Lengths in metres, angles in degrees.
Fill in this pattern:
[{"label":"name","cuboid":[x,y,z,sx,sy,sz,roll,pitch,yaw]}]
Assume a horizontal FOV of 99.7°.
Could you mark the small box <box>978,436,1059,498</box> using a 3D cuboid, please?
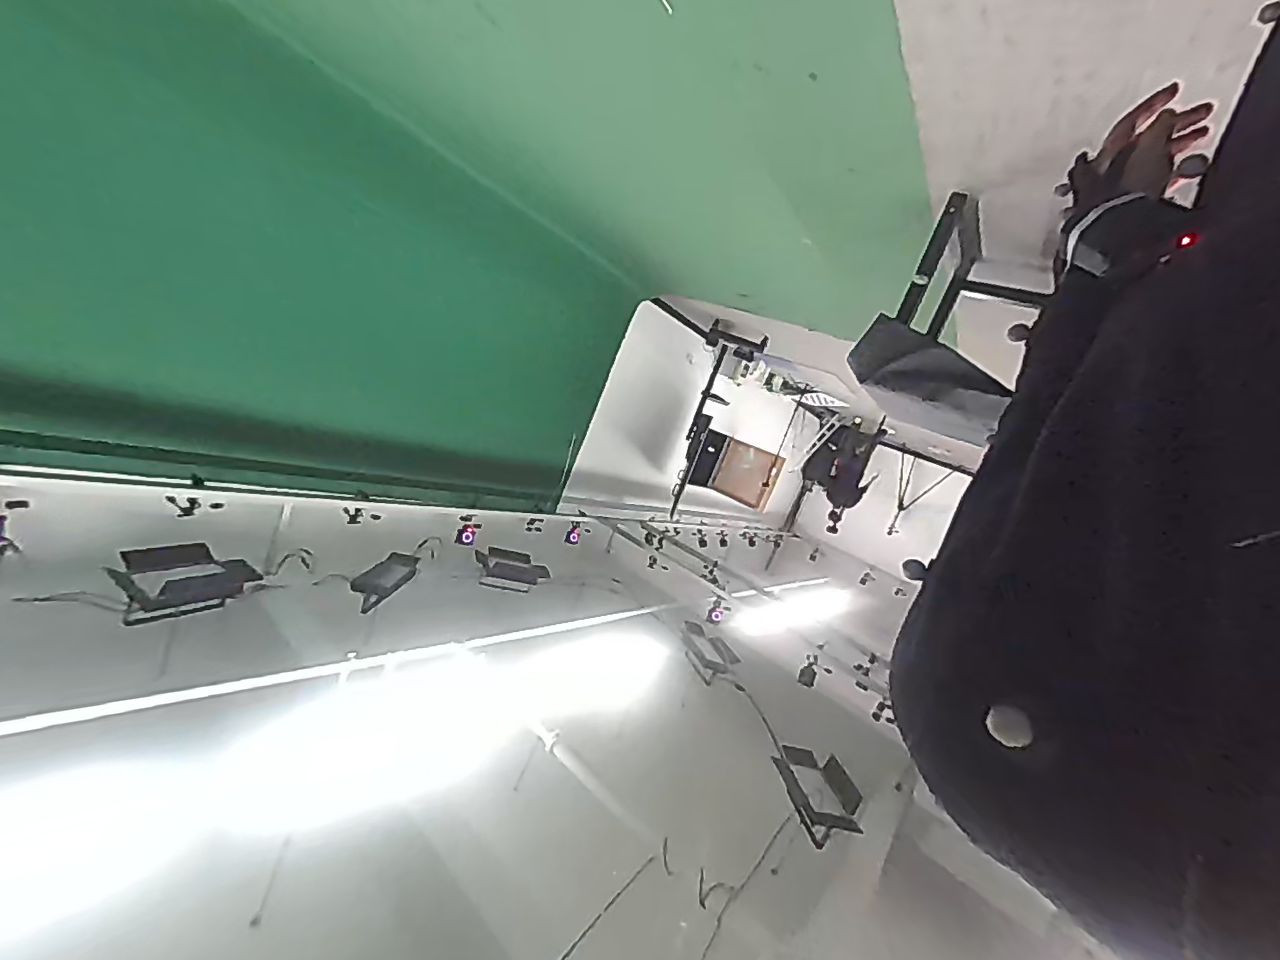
[{"label":"small box","cuboid":[1.297,-0.045,1.860,0.179,0.176,0.168,26,-170,33]}]
